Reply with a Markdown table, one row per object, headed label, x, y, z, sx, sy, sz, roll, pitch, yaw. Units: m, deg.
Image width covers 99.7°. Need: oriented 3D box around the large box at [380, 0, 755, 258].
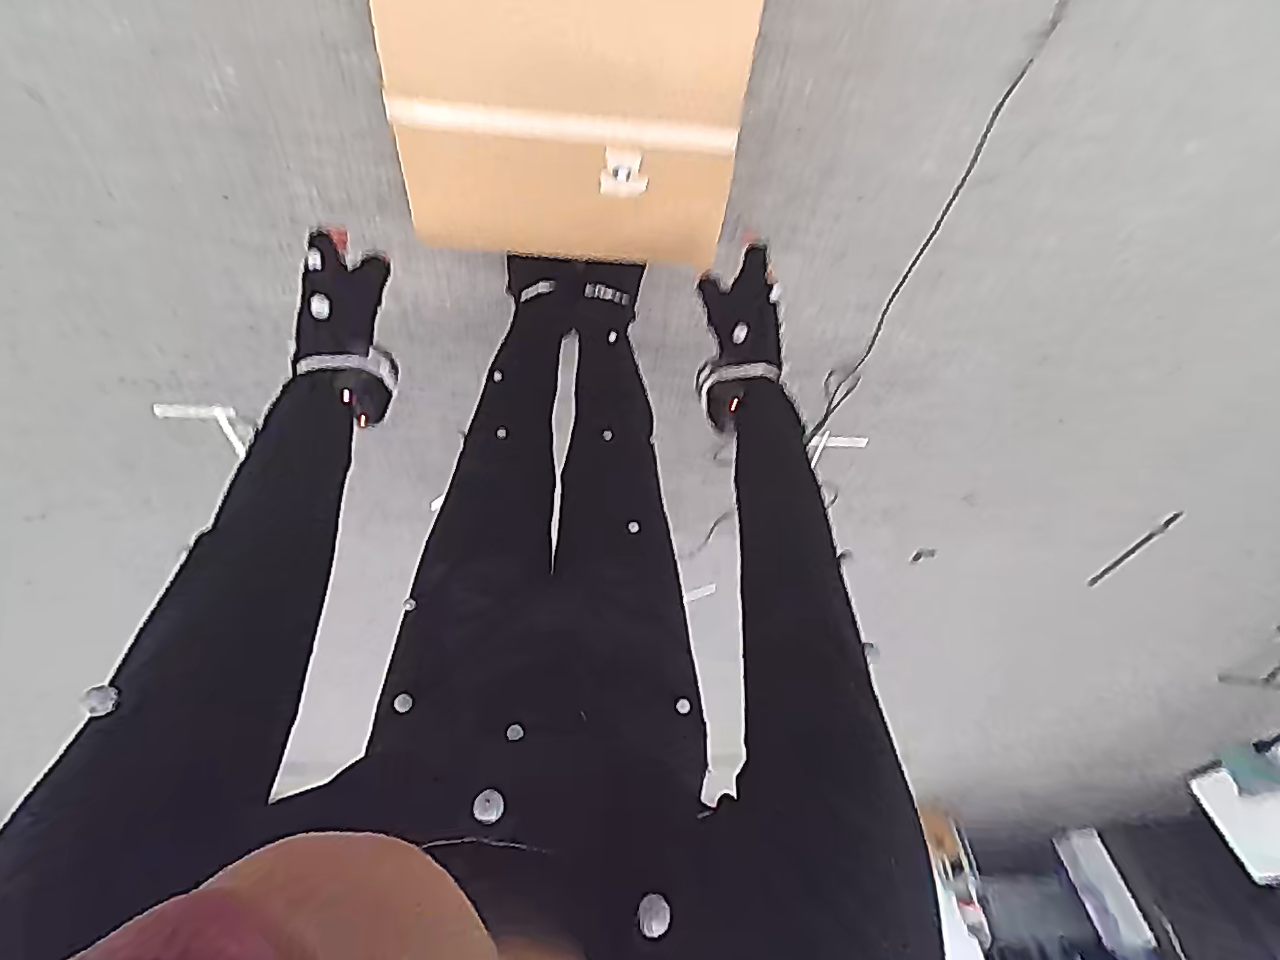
| label | x | y | z | sx | sy | sz | roll | pitch | yaw |
| --- | --- | --- | --- | --- | --- | --- | --- | --- | --- |
| large box | -0.094 | -0.531 | 0.757 | 0.408 | 0.320 | 0.320 | 1 | 135 | -6 |
